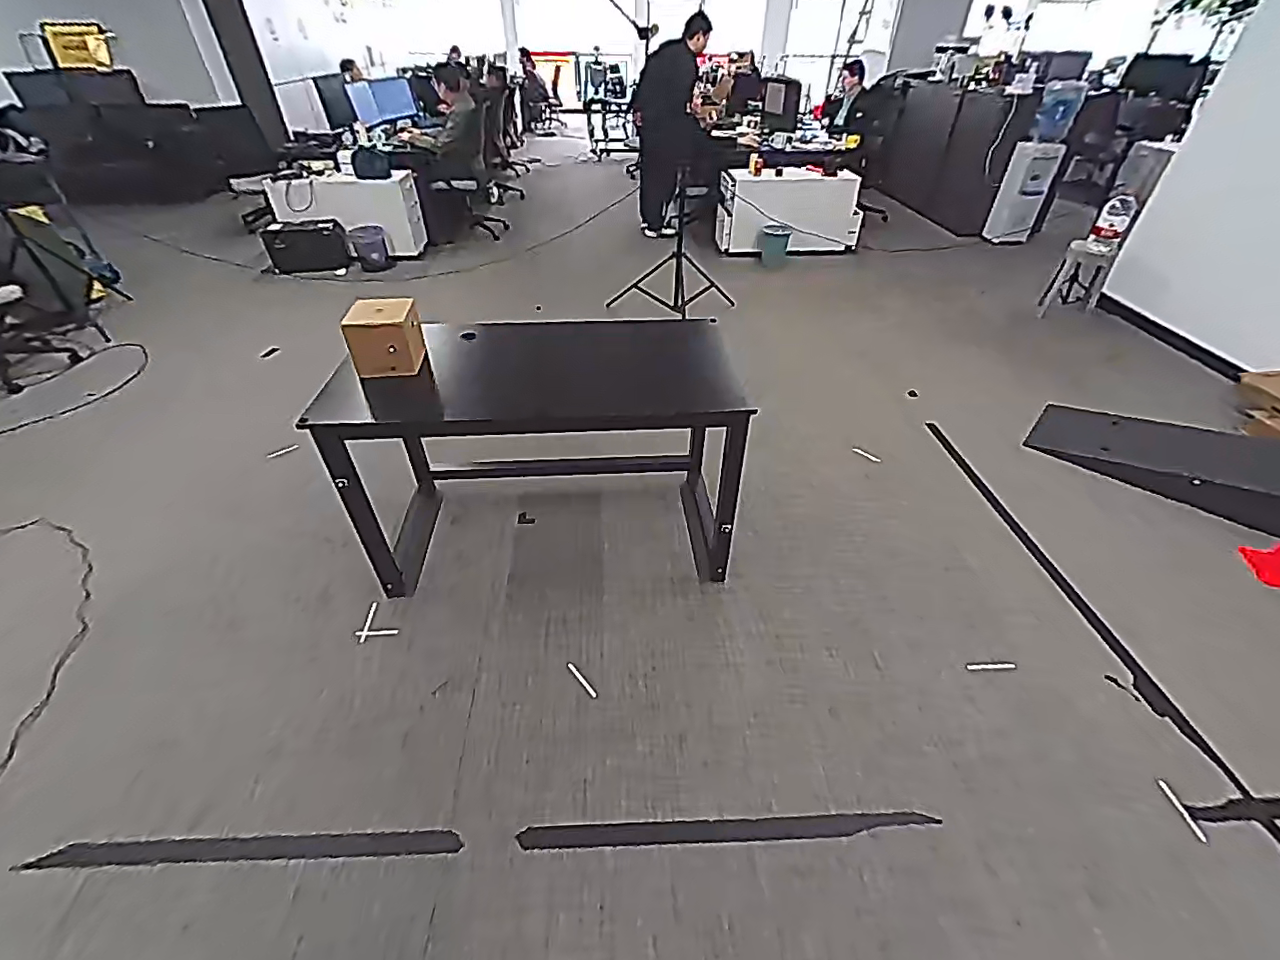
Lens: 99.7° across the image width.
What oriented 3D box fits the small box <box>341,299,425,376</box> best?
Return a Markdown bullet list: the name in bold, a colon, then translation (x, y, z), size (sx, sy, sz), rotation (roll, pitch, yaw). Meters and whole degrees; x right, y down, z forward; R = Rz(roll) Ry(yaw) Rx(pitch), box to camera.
- **small box**: translation (-0.743, -0.415, 1.587), size (0.168, 0.176, 0.179), rotation (-4, 39, -7)
